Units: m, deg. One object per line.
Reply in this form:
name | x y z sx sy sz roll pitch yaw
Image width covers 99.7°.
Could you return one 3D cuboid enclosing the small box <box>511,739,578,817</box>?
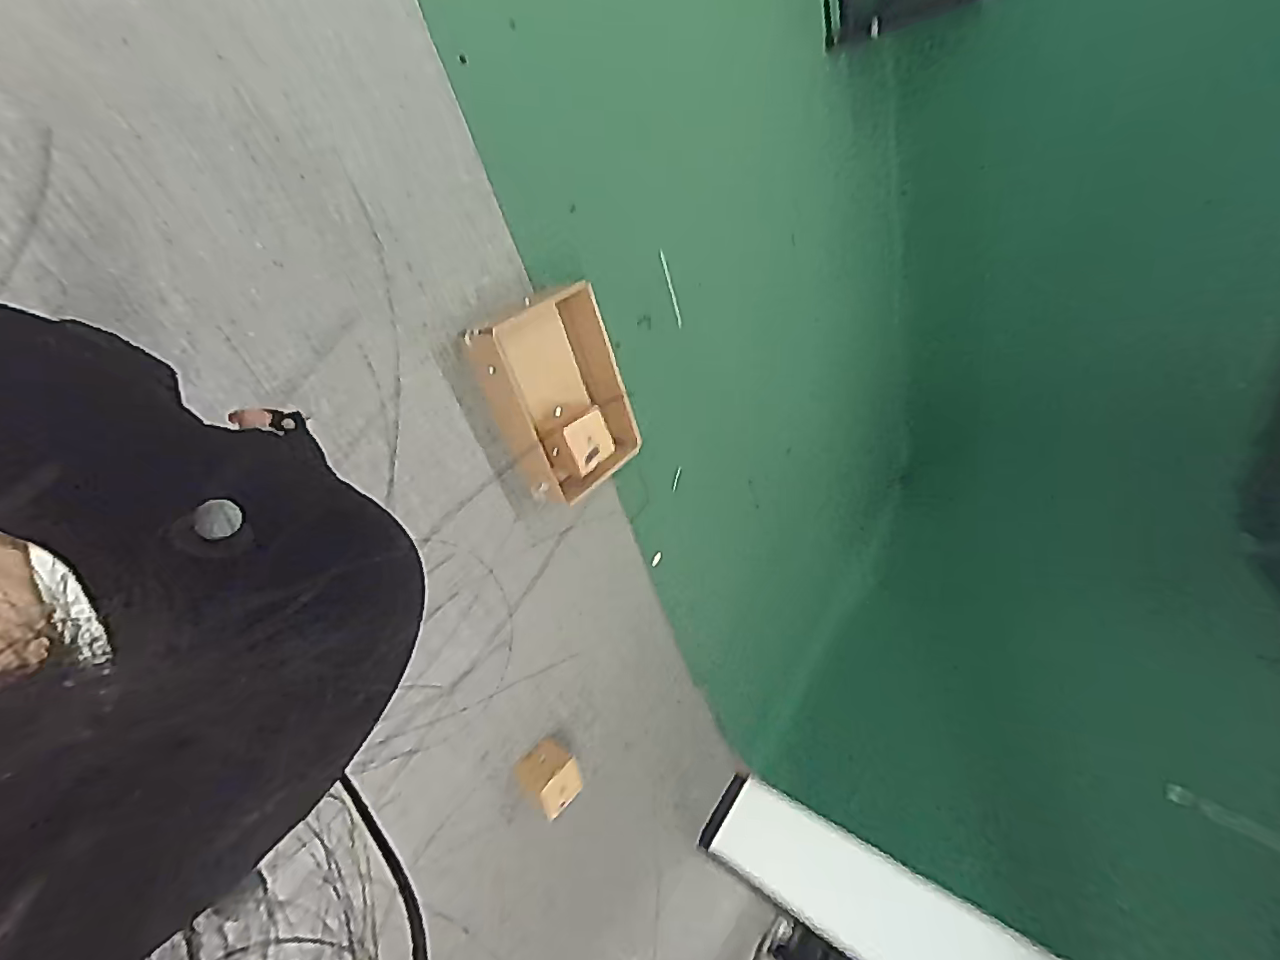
small box | -0.366 1.123 2.058 0.168 0.176 0.179 -31 121 -40
